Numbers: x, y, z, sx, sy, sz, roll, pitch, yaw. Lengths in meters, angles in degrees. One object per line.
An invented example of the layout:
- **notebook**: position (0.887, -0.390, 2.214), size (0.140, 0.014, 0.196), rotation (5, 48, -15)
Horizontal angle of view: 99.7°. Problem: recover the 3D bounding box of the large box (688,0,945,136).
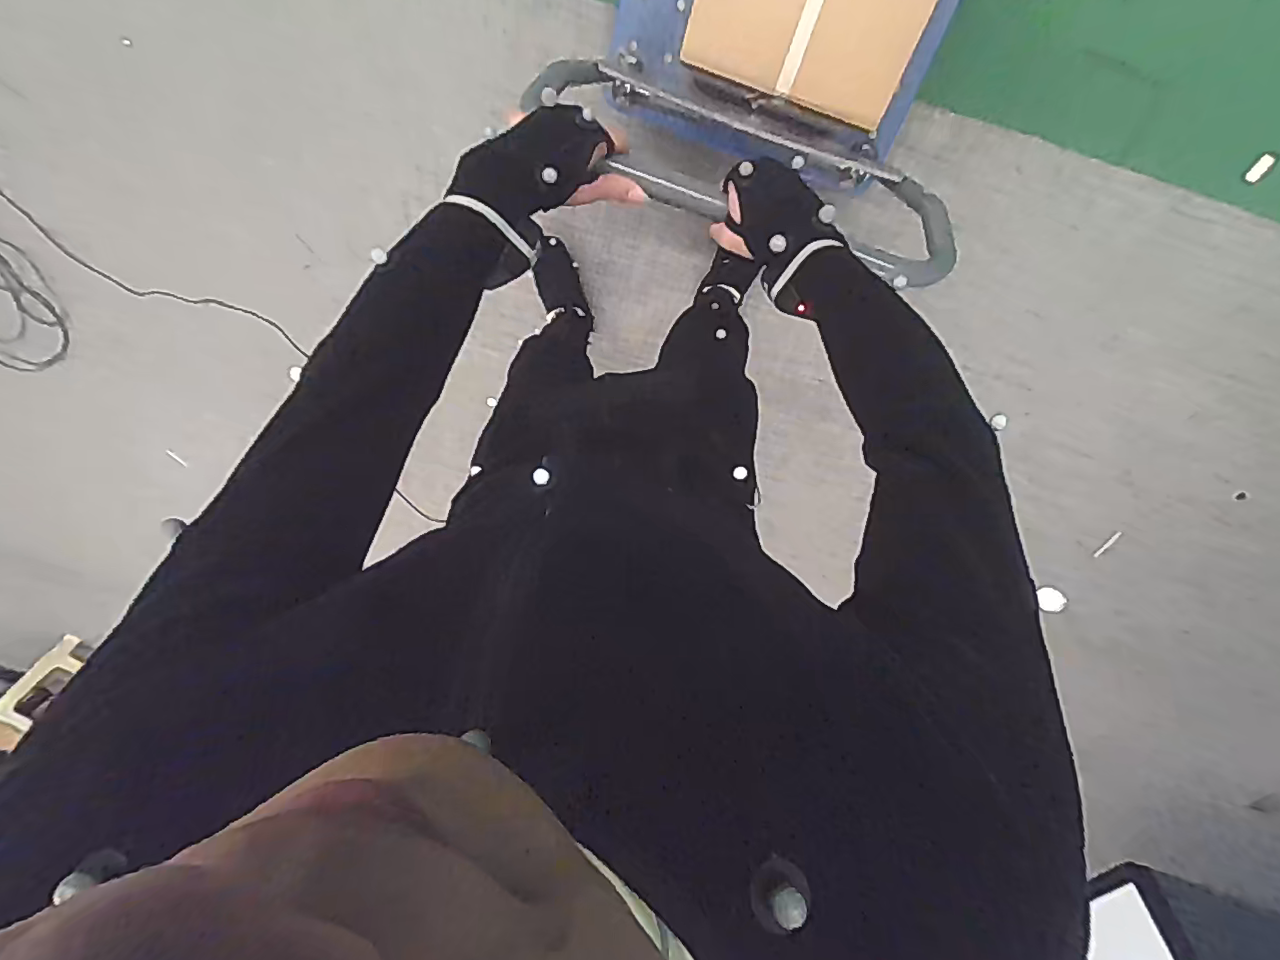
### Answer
- **large box**: position (0.286, -0.788, 0.809), size (0.320, 0.320, 0.408), rotation (18, 123, -4)
